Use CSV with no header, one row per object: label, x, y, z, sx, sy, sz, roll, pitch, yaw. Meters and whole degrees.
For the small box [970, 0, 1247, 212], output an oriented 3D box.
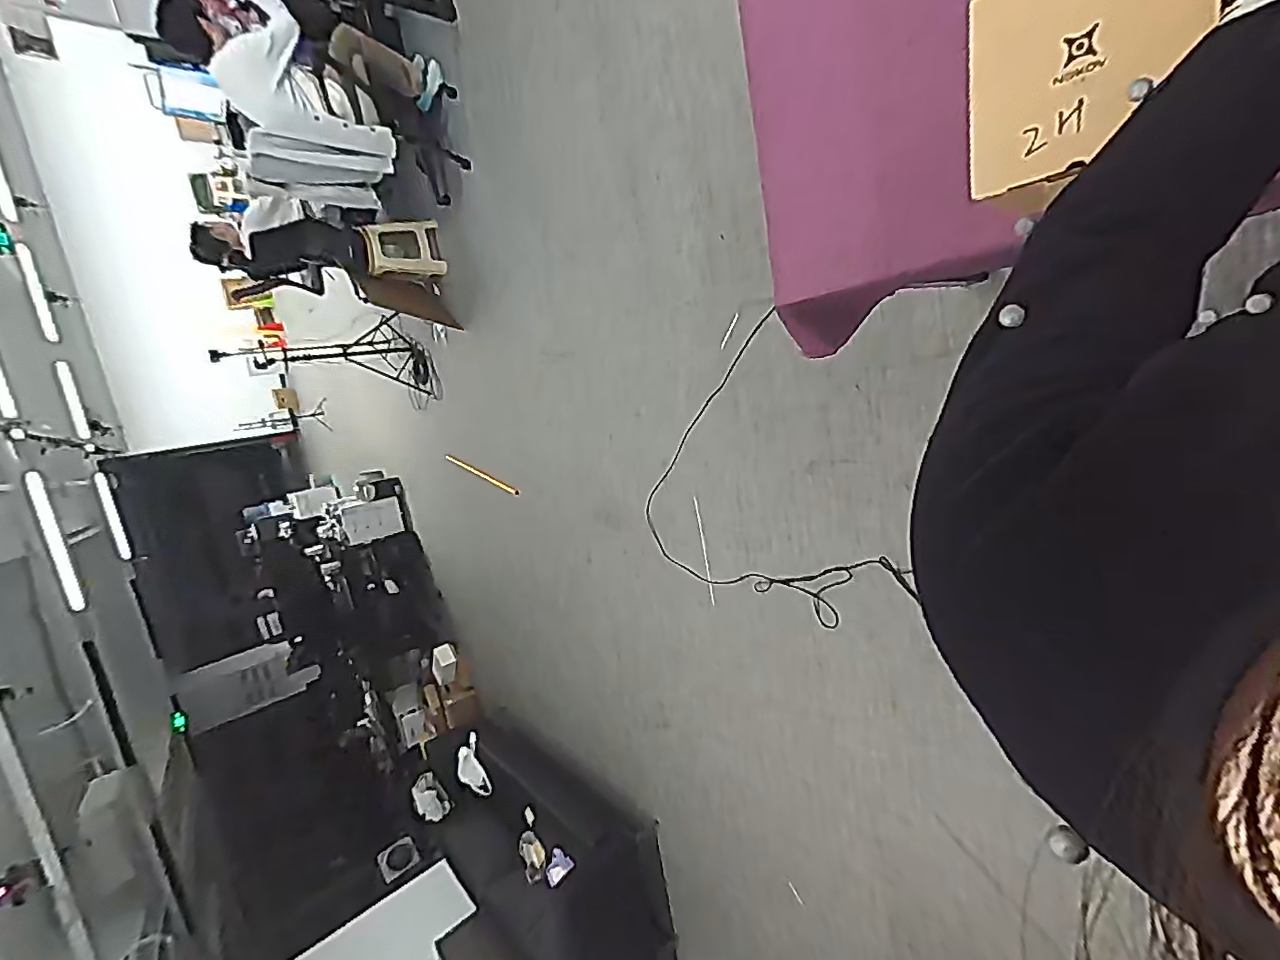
small box,0.431,-0.370,0.503,0.168,0.176,0.179,8,109,51
